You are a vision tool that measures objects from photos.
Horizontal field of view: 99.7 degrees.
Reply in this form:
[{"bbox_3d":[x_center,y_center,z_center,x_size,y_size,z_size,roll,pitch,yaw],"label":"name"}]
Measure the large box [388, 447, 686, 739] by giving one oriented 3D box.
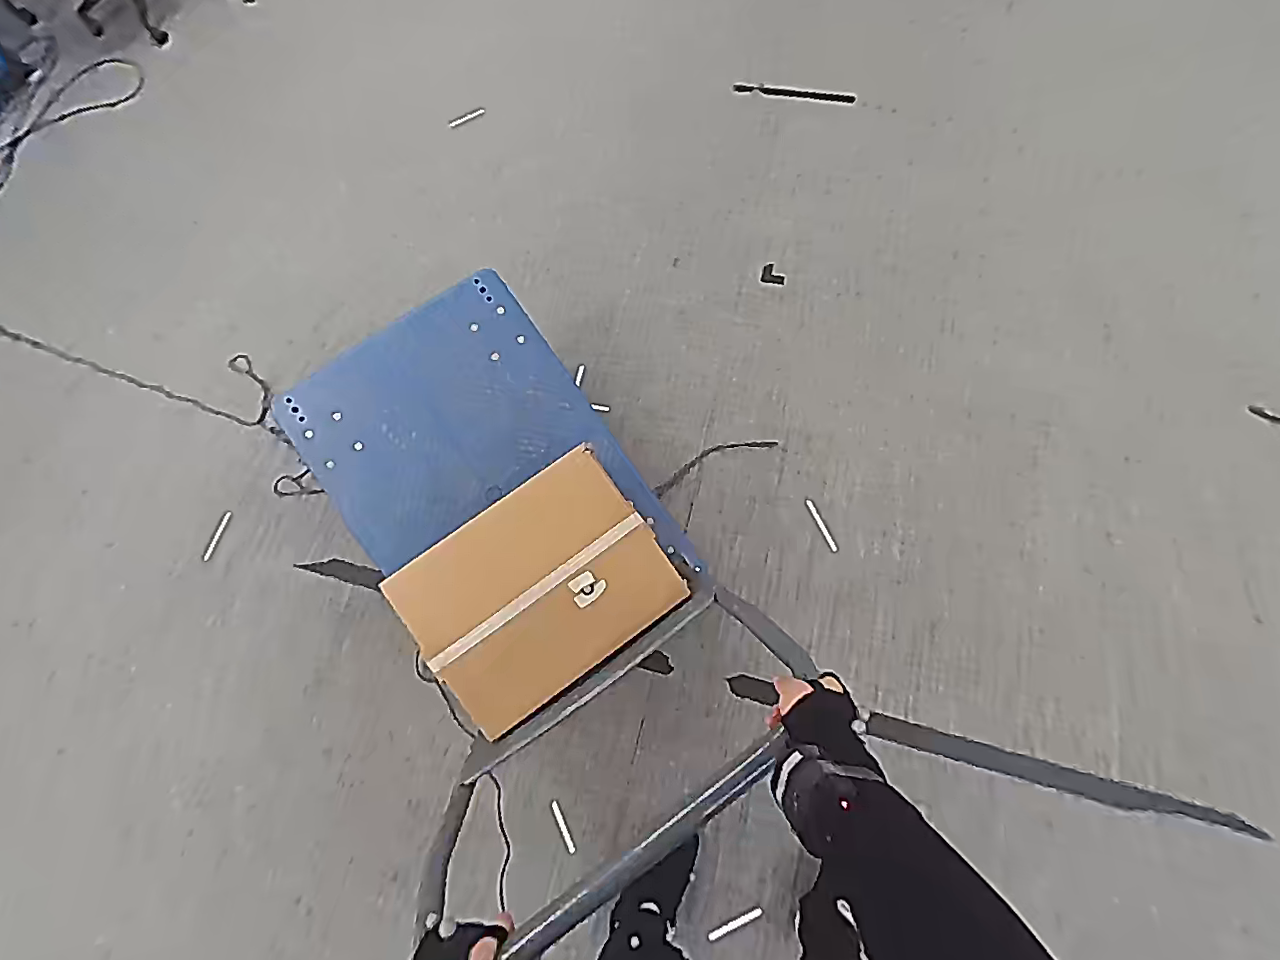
[{"bbox_3d":[-0.179,0.195,1.042,0.408,0.320,0.320,-36,90,-7],"label":"large box"}]
